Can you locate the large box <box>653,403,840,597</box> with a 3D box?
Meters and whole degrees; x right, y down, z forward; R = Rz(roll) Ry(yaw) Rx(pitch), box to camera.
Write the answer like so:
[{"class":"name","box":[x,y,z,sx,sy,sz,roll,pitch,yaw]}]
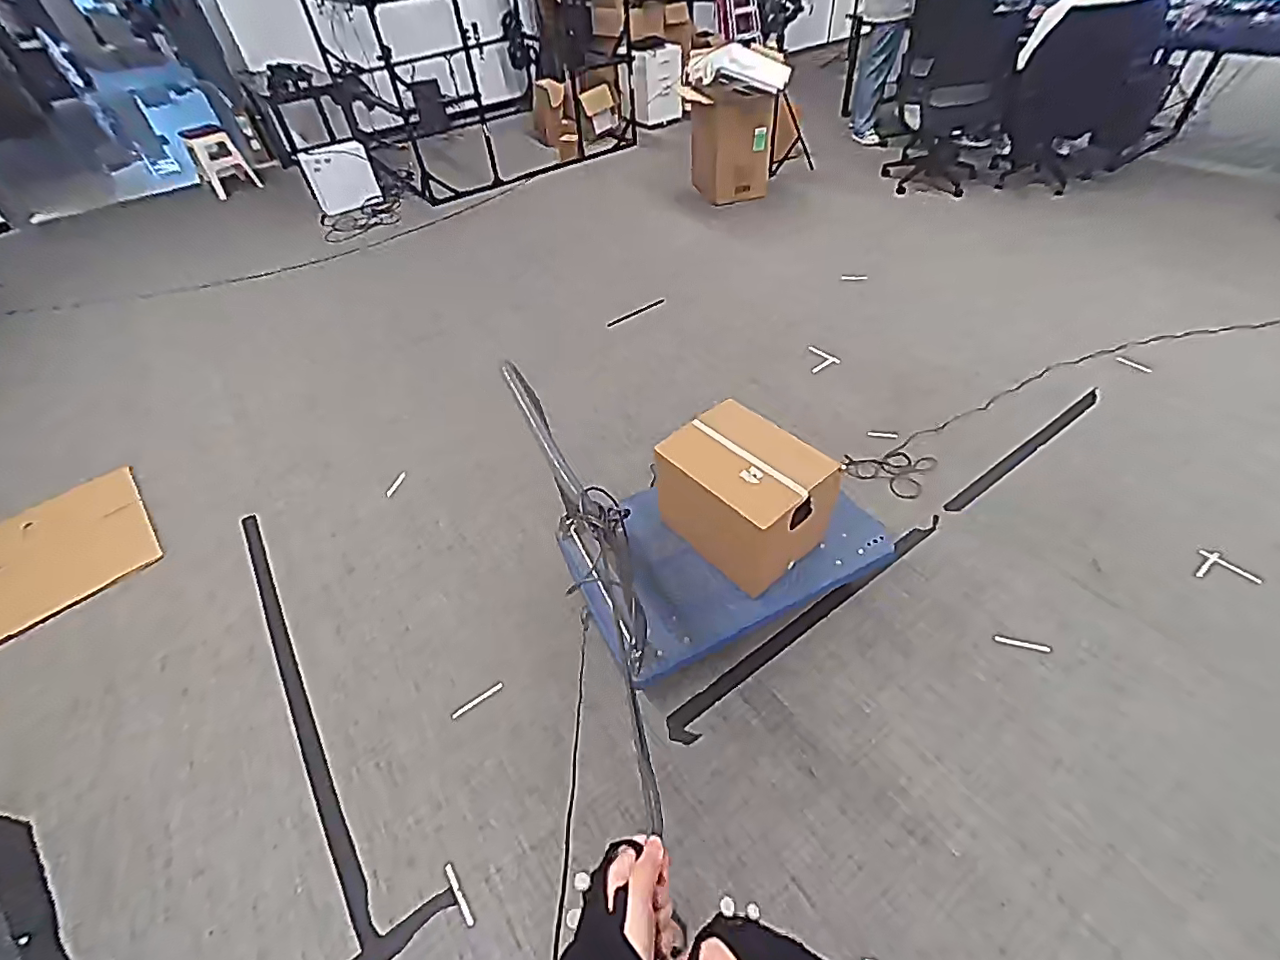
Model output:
[{"class":"large box","box":[0.284,0.049,1.549,0.320,0.320,0.408,-34,53,-24]}]
